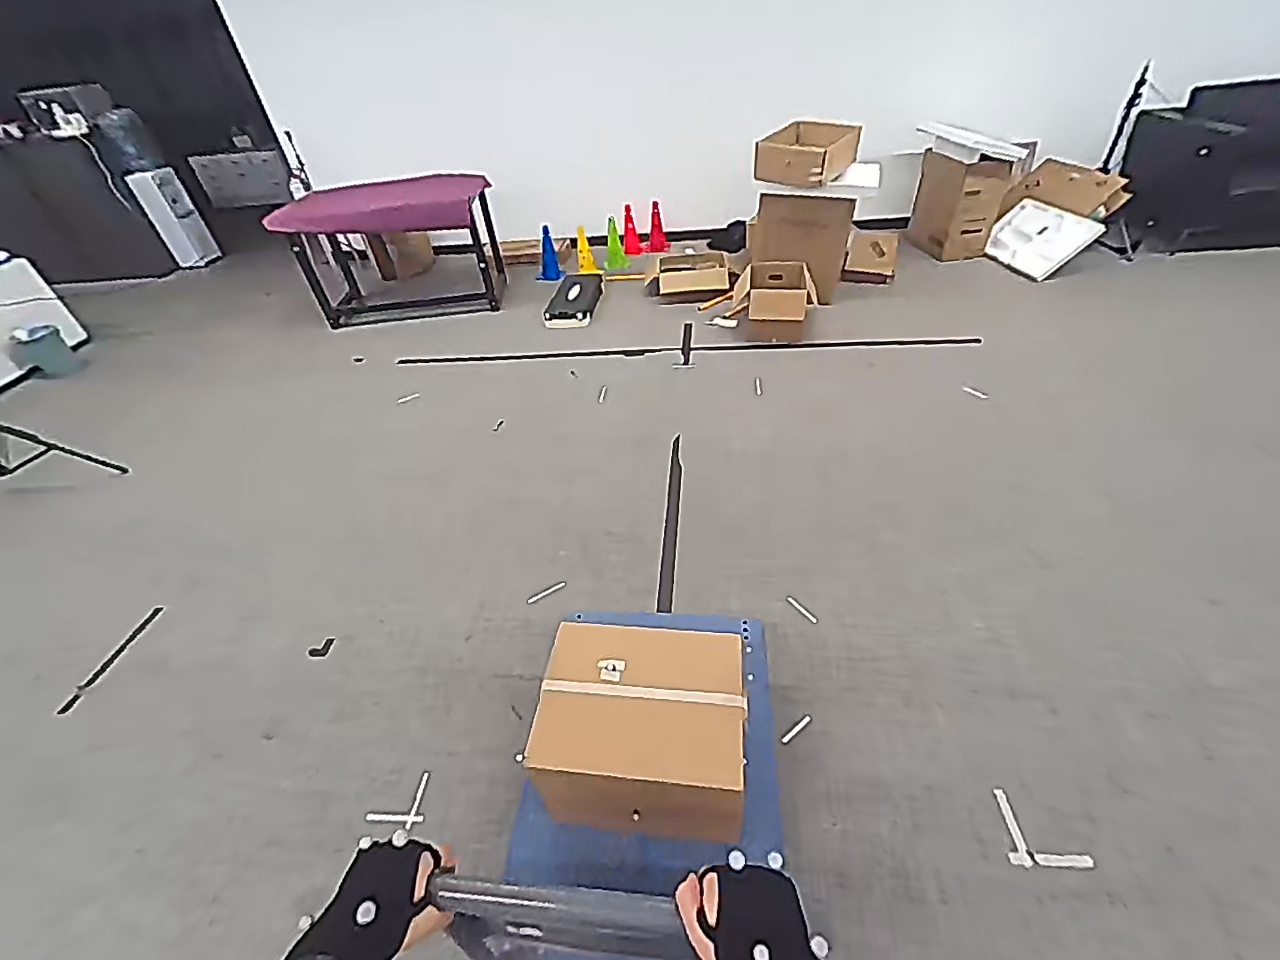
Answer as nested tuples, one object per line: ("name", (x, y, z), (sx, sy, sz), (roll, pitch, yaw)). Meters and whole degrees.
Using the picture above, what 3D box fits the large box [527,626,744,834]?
("large box", (0.016, 0.544, 1.188), (0.408, 0.320, 0.320), (1, 40, 9))
